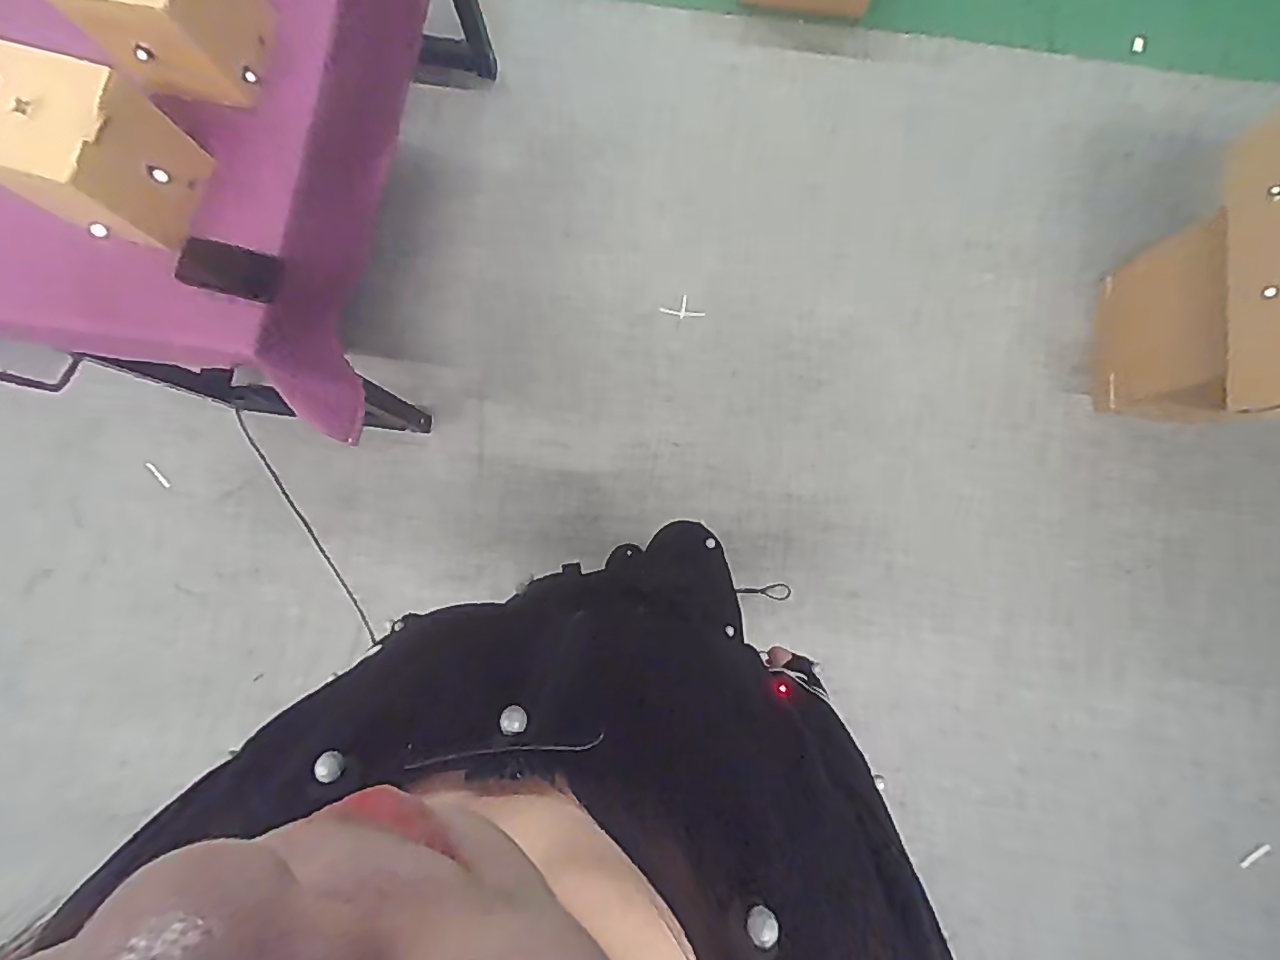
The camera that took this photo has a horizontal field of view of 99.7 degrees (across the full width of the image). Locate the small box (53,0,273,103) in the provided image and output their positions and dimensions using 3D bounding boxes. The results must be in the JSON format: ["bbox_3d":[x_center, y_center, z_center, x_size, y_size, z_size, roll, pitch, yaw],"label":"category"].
[{"bbox_3d":[-0.687,-0.698,0.795,0.179,0.176,0.168,9,83,2],"label":"small box"}]

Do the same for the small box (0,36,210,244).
[{"bbox_3d":[-0.775,-0.465,0.769,0.179,0.176,0.168,16,84,1],"label":"small box"}]
